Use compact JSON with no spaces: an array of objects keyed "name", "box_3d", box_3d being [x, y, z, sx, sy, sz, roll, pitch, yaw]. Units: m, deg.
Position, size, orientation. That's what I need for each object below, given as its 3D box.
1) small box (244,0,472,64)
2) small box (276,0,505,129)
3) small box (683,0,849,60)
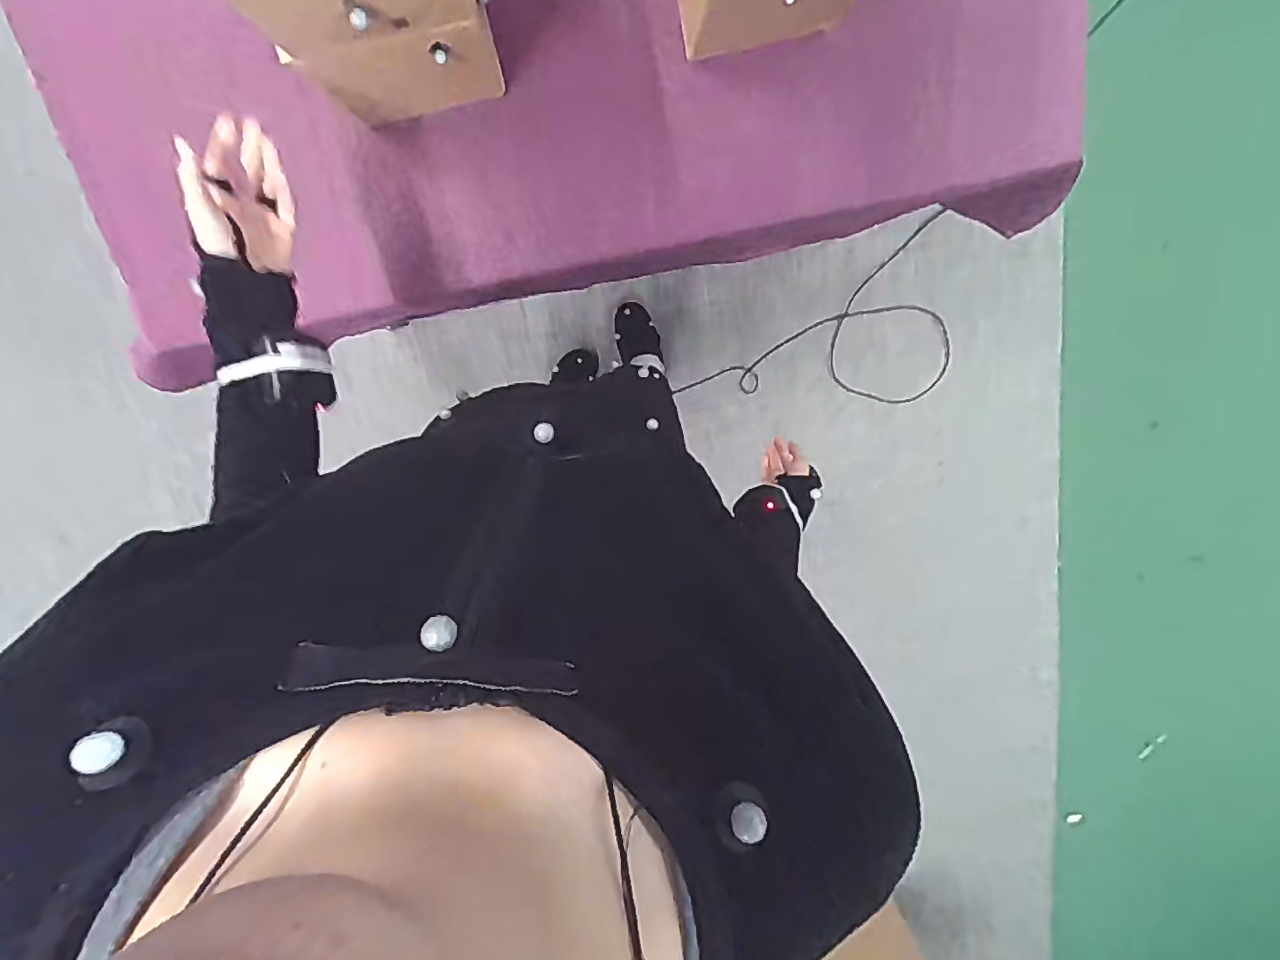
[{"name":"small box","box_3d":[-0.238,-0.447,0.382,0.168,0.176,0.179,-13,105,1]},{"name":"small box","box_3d":[-0.254,-0.485,0.542,0.179,0.176,0.168,-14,105,0]},{"name":"small box","box_3d":[0.131,-0.562,0.541,0.179,0.176,0.168,-12,107,0]}]
